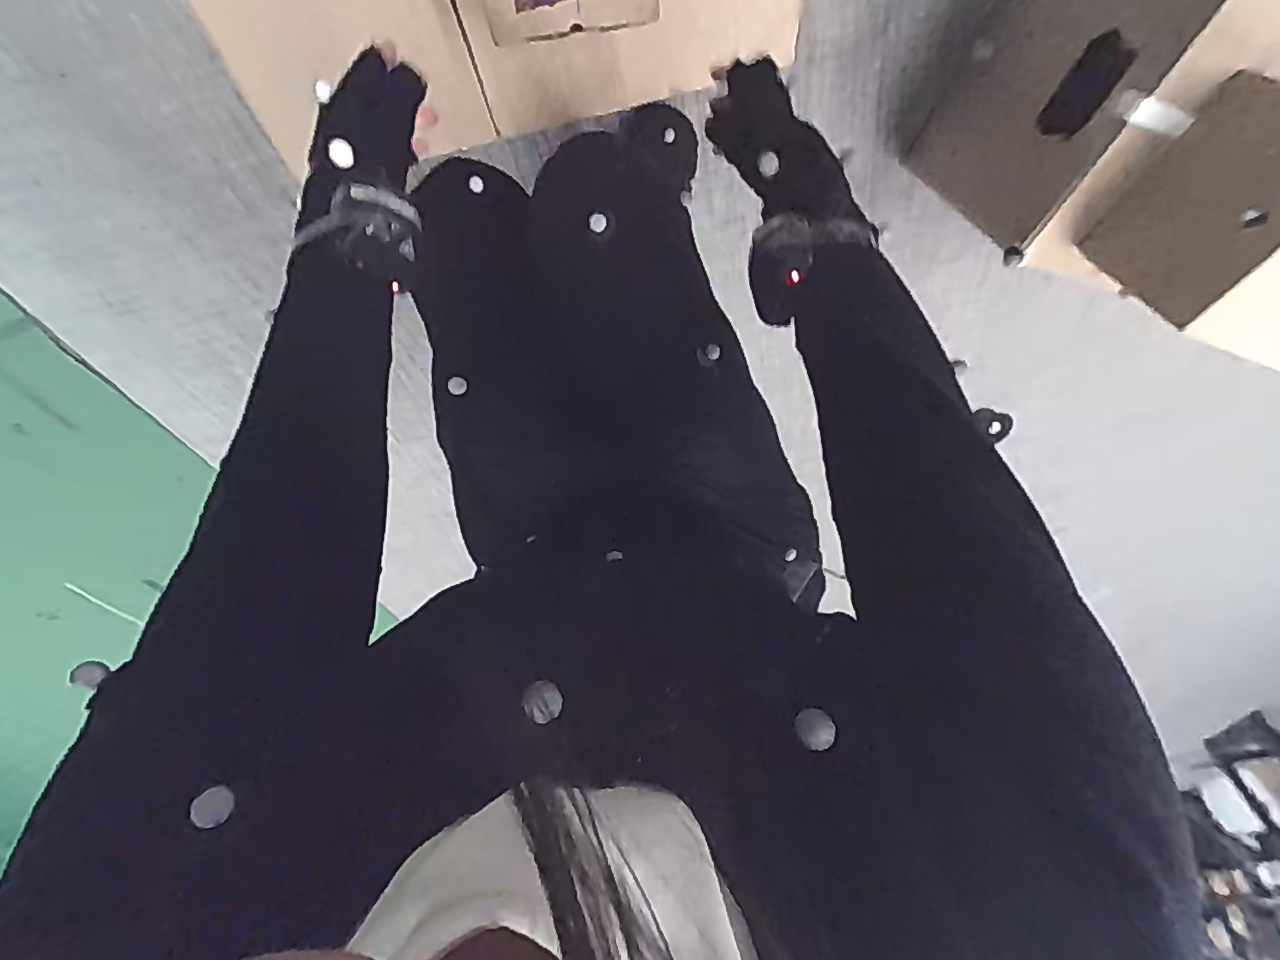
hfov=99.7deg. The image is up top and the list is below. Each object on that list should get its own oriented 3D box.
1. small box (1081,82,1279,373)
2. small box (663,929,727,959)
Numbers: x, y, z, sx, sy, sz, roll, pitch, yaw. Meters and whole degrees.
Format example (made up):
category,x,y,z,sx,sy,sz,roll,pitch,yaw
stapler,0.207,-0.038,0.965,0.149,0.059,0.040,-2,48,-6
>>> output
category,x,y,z,sx,sy,sz,roll,pitch,yaw
small box,0.586,-0.235,0.509,0.168,0.176,0.179,11,136,-15
small box,0.186,1.576,1.758,0.179,0.176,0.168,-16,137,13
